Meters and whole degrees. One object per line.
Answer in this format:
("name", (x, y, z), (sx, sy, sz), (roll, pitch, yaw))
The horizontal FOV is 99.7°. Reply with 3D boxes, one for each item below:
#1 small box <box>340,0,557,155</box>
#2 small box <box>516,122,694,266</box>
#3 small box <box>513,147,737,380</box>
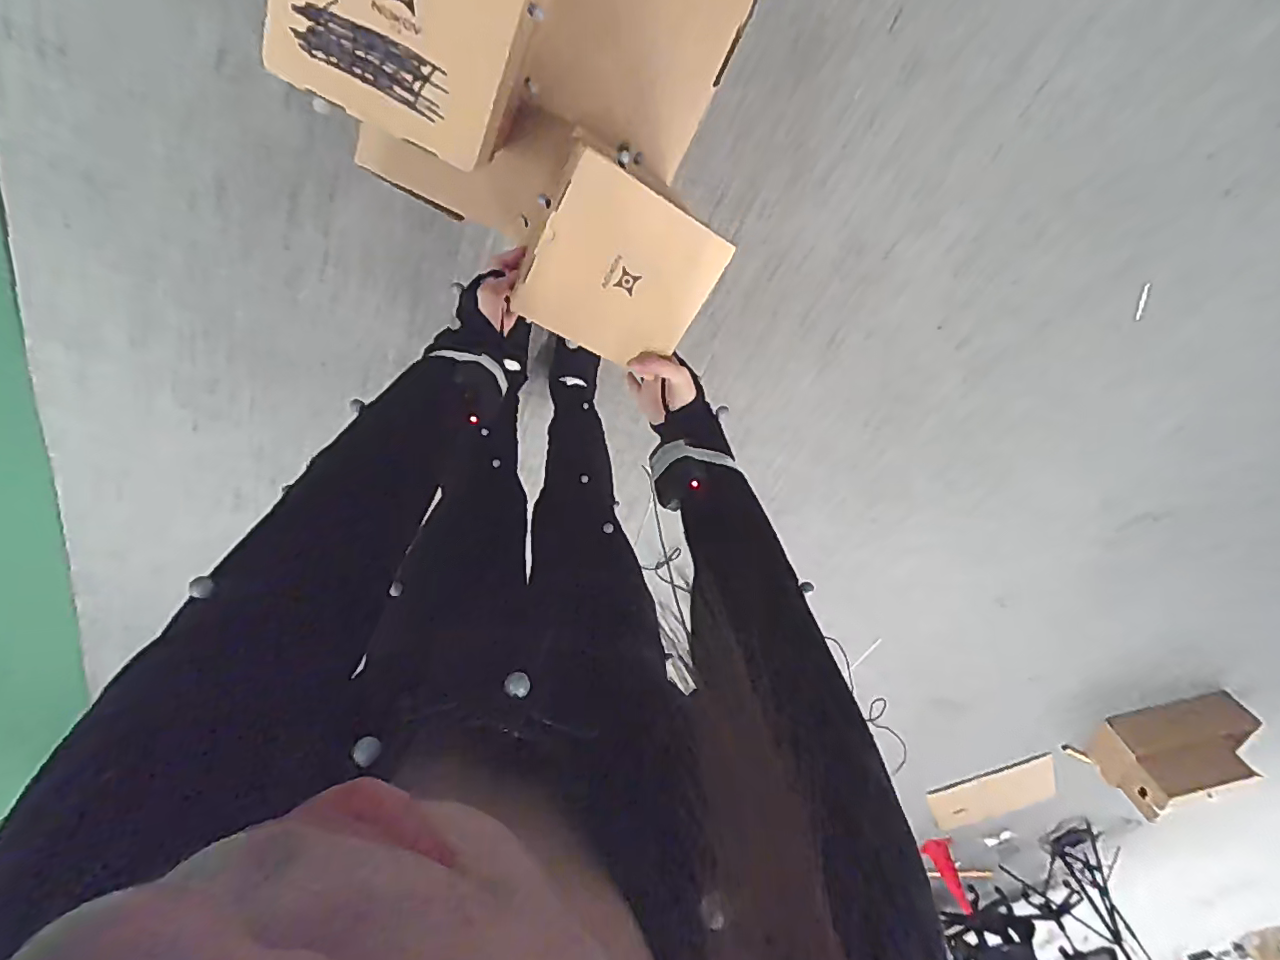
("small box", (-0.201, -0.498, 0.602), (0.168, 0.176, 0.179), (23, 117, -22))
("small box", (-0.054, -0.349, 0.731), (0.168, 0.176, 0.179), (22, 118, -24))
("small box", (-0.026, -0.247, 0.606), (0.179, 0.176, 0.168), (23, 117, -23))
